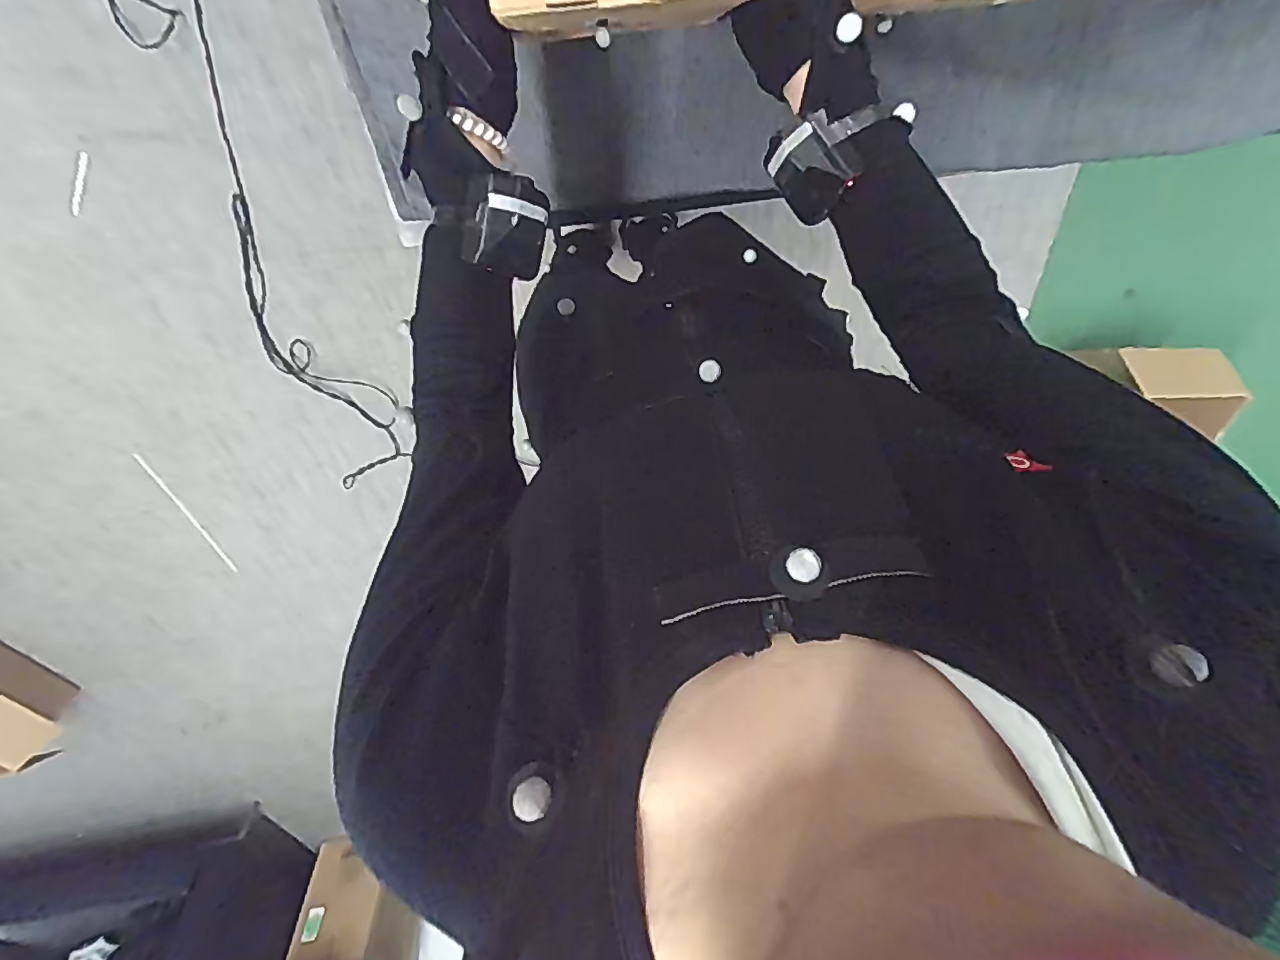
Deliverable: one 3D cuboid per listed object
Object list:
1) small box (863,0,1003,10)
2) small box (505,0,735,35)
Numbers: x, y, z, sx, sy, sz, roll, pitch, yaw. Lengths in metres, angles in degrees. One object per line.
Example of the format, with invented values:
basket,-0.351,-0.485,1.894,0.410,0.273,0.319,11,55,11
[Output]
small box,0.270,-0.463,0.390,0.168,0.176,0.179,-7,126,-2
small box,-0.017,-0.394,0.324,0.168,0.176,0.179,-9,127,-2
